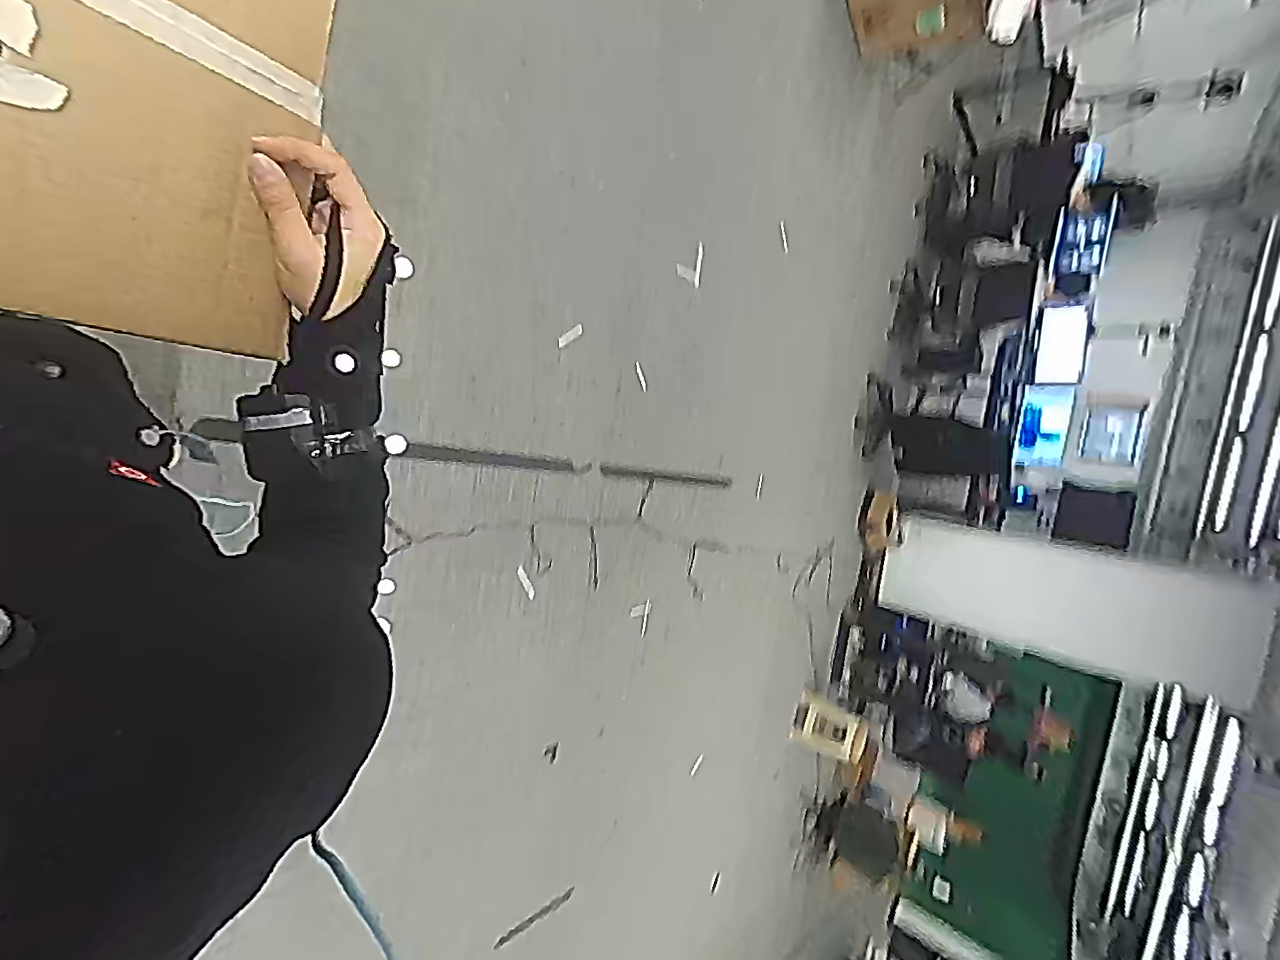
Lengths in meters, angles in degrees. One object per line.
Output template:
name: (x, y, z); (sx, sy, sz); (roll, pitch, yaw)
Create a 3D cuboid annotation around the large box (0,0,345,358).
large box: (-0.436, -0.272, 0.271); (0.408, 0.320, 0.320); (4, 103, -55)
